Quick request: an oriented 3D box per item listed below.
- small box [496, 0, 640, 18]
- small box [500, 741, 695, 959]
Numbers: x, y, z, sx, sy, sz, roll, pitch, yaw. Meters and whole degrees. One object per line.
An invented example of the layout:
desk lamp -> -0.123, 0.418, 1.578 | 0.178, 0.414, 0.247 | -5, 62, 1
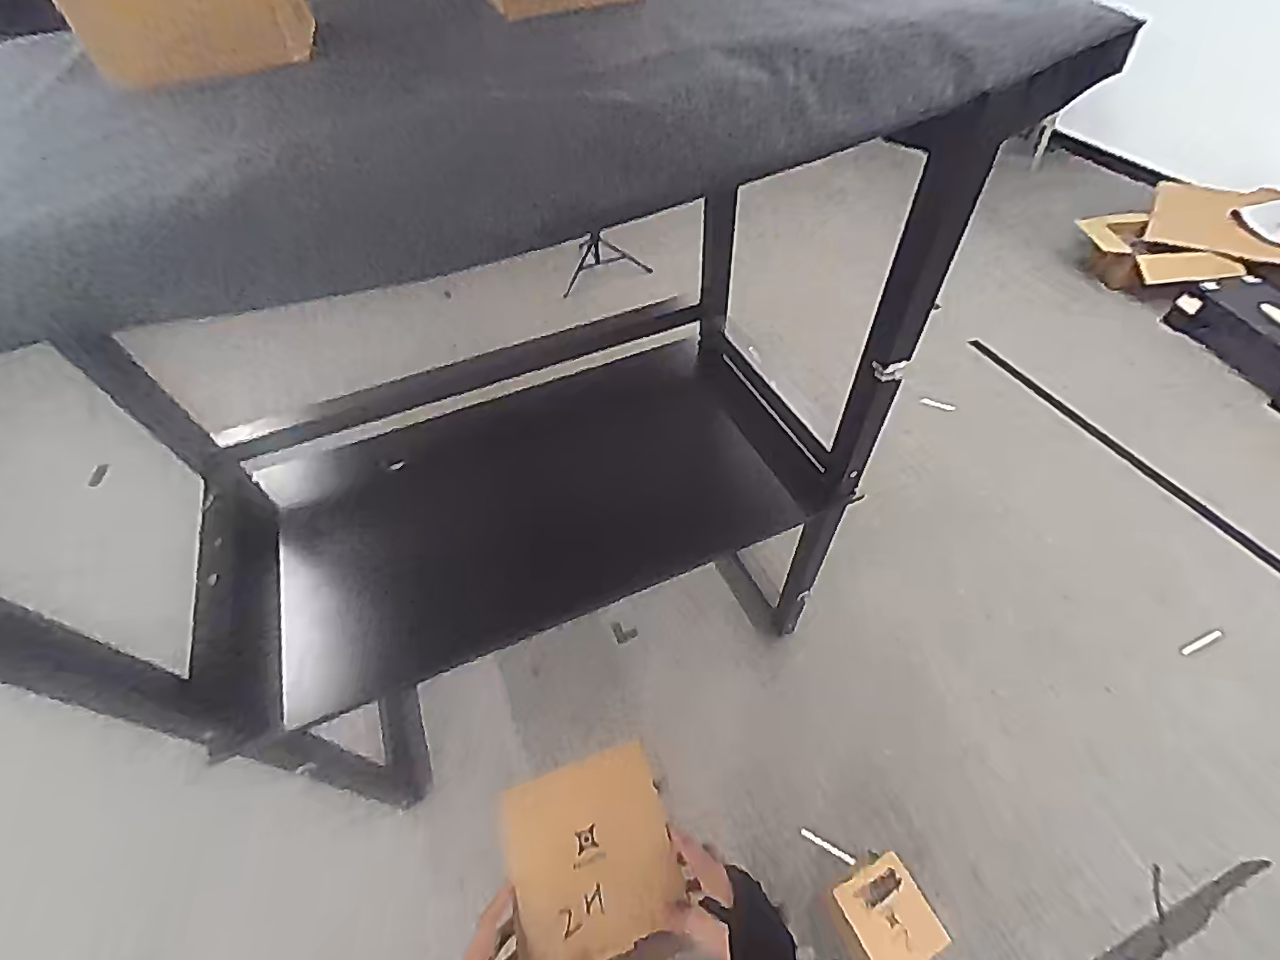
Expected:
small box -> -0.093, -0.627, 0.584 | 0.168, 0.176, 0.179 | -17, 52, -10
small box -> -0.046, 0.434, 0.603 | 0.168, 0.176, 0.179 | -17, 44, -8
